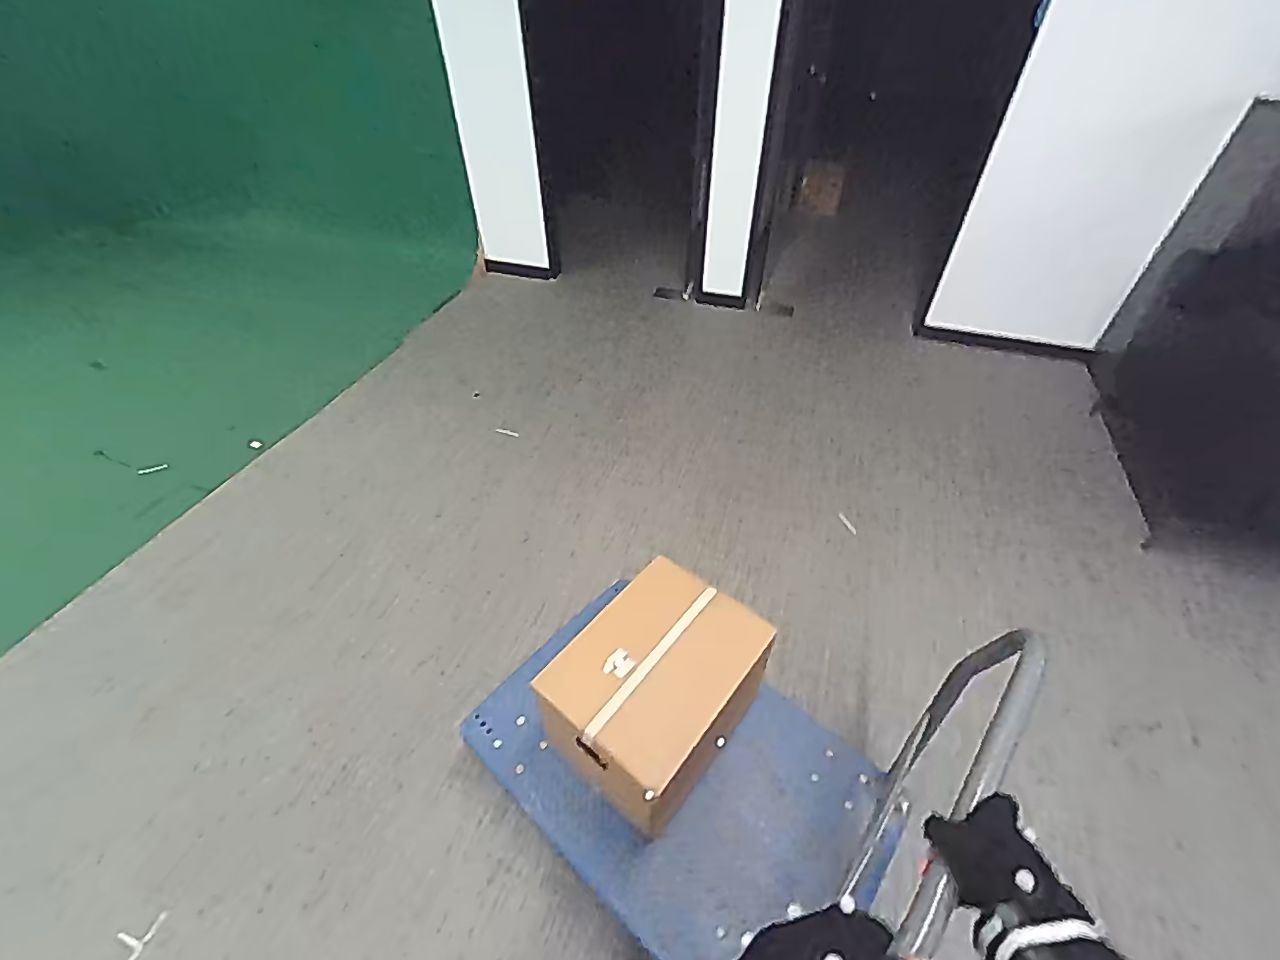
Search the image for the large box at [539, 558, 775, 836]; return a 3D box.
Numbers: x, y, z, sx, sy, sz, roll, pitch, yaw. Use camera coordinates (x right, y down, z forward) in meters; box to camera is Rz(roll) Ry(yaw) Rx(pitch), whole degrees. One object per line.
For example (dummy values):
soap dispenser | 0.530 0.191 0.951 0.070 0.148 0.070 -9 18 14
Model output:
large box | 0.045 0.458 1.180 0.320 0.320 0.408 29 52 27
